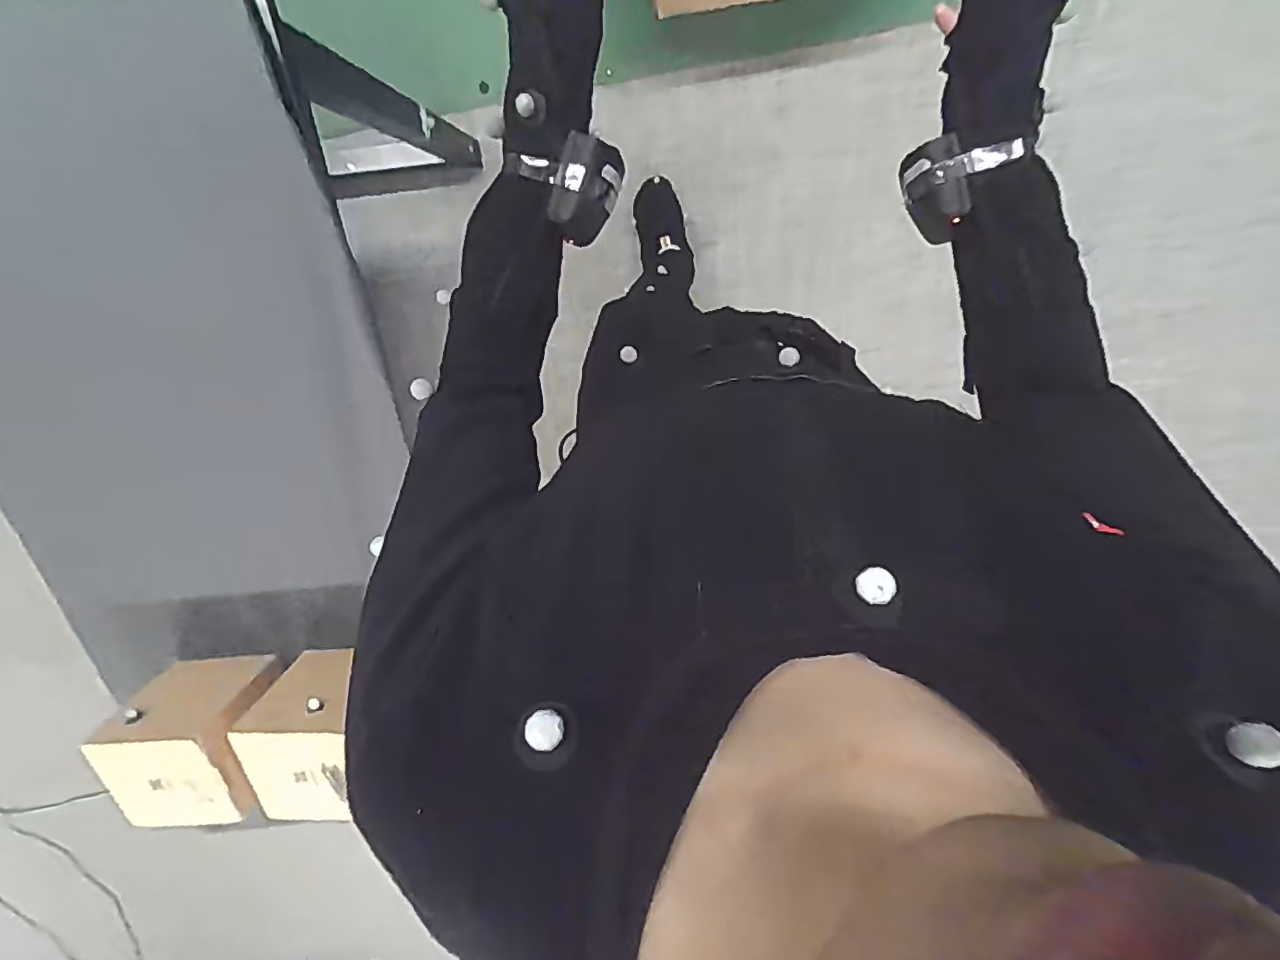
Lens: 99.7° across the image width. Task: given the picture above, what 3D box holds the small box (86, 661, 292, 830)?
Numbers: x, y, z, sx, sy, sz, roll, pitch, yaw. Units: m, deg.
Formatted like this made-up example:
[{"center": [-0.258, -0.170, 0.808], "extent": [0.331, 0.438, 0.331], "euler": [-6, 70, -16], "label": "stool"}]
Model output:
[{"center": [-0.655, 0.398, 0.827], "extent": [0.179, 0.176, 0.168], "euler": [-5, 112, 4], "label": "small box"}]

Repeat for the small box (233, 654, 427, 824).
[{"center": [-0.440, 0.377, 0.808], "extent": [0.179, 0.176, 0.168], "euler": [-3, 112, 6], "label": "small box"}]
